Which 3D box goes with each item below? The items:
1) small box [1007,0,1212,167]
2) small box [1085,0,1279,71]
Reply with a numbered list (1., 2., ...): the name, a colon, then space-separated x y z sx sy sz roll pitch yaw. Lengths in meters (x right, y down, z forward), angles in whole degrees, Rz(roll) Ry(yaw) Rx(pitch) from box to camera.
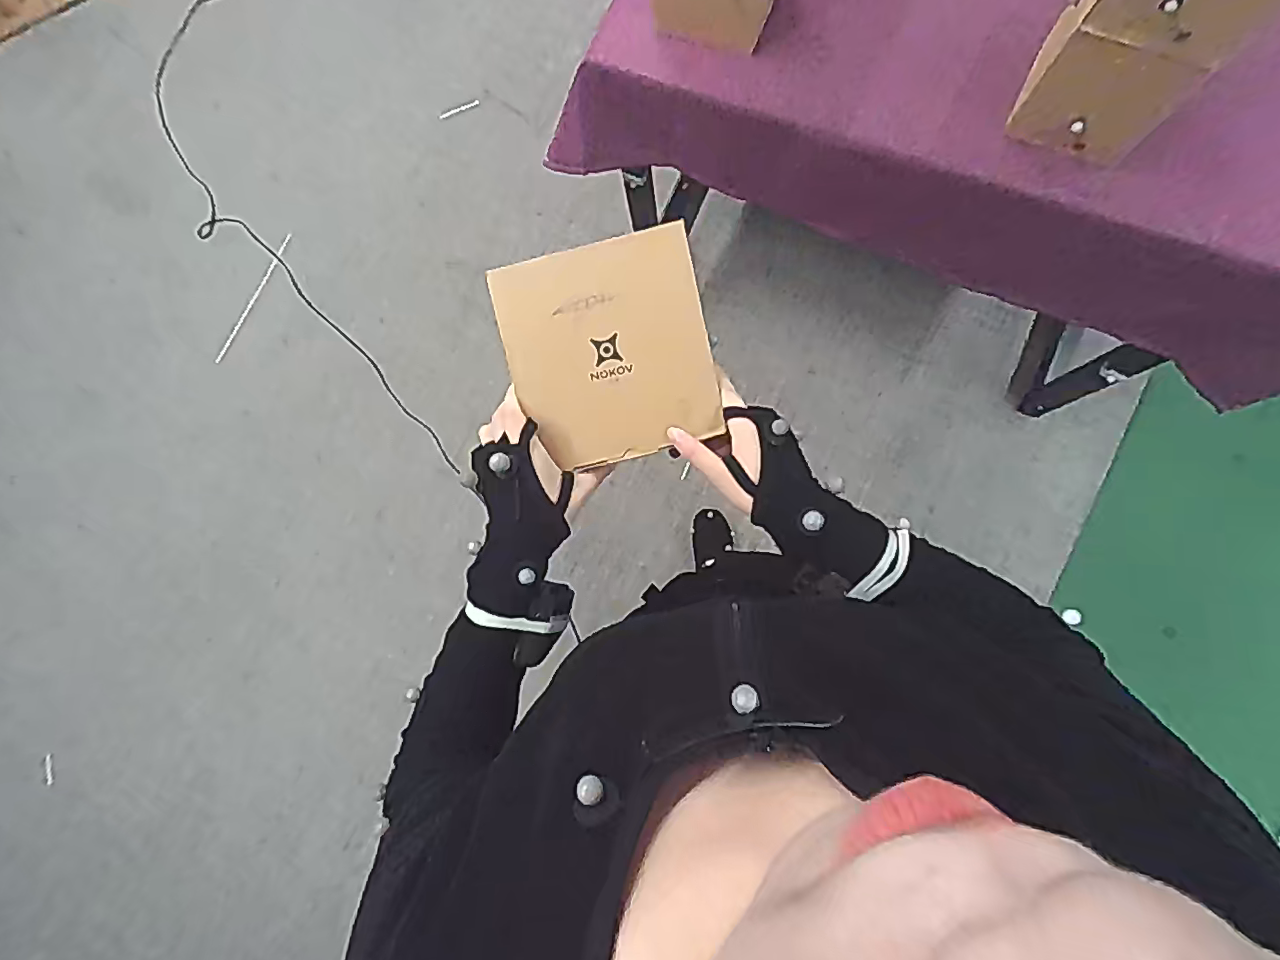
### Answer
1. small box: 0.653 -0.582 0.742 0.168 0.176 0.179 26 85 9
2. small box: 0.639 -0.604 0.581 0.168 0.176 0.179 26 86 9
